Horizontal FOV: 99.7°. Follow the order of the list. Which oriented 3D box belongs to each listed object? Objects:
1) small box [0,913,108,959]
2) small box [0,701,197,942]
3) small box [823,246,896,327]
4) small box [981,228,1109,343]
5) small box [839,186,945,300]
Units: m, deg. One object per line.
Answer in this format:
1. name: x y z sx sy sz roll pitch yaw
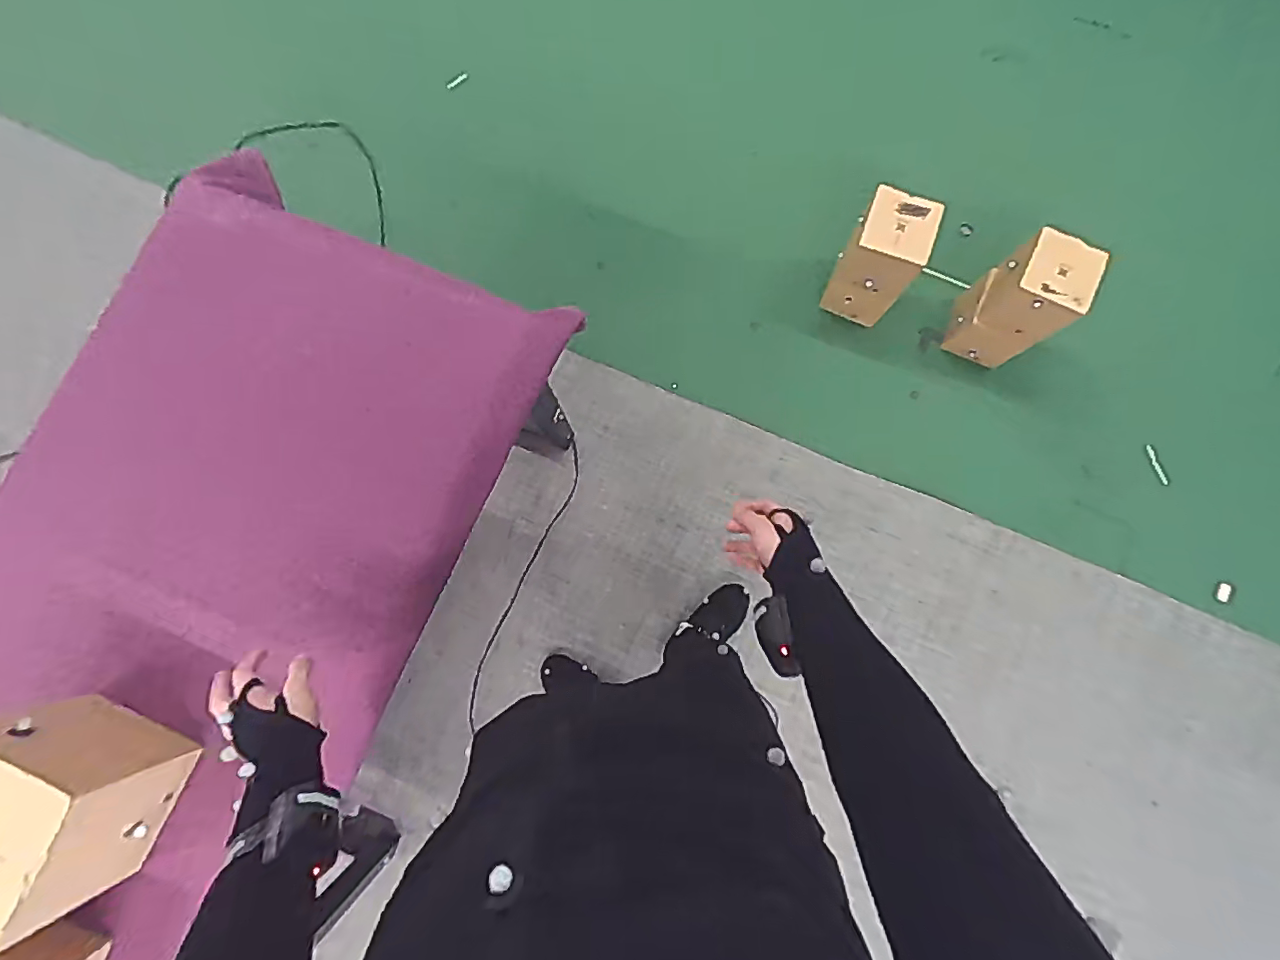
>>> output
1. small box: -0.771 0.614 0.593 0.179 0.176 0.168 18 81 3
2. small box: -0.692 0.380 0.632 0.179 0.176 0.168 24 81 4
3. small box: 0.637 -0.563 1.524 0.168 0.176 0.179 24 81 5
4. small box: 0.991 -0.473 1.338 0.168 0.176 0.179 27 81 4
5. small box: 0.624 -0.589 1.361 0.168 0.176 0.179 21 82 5
